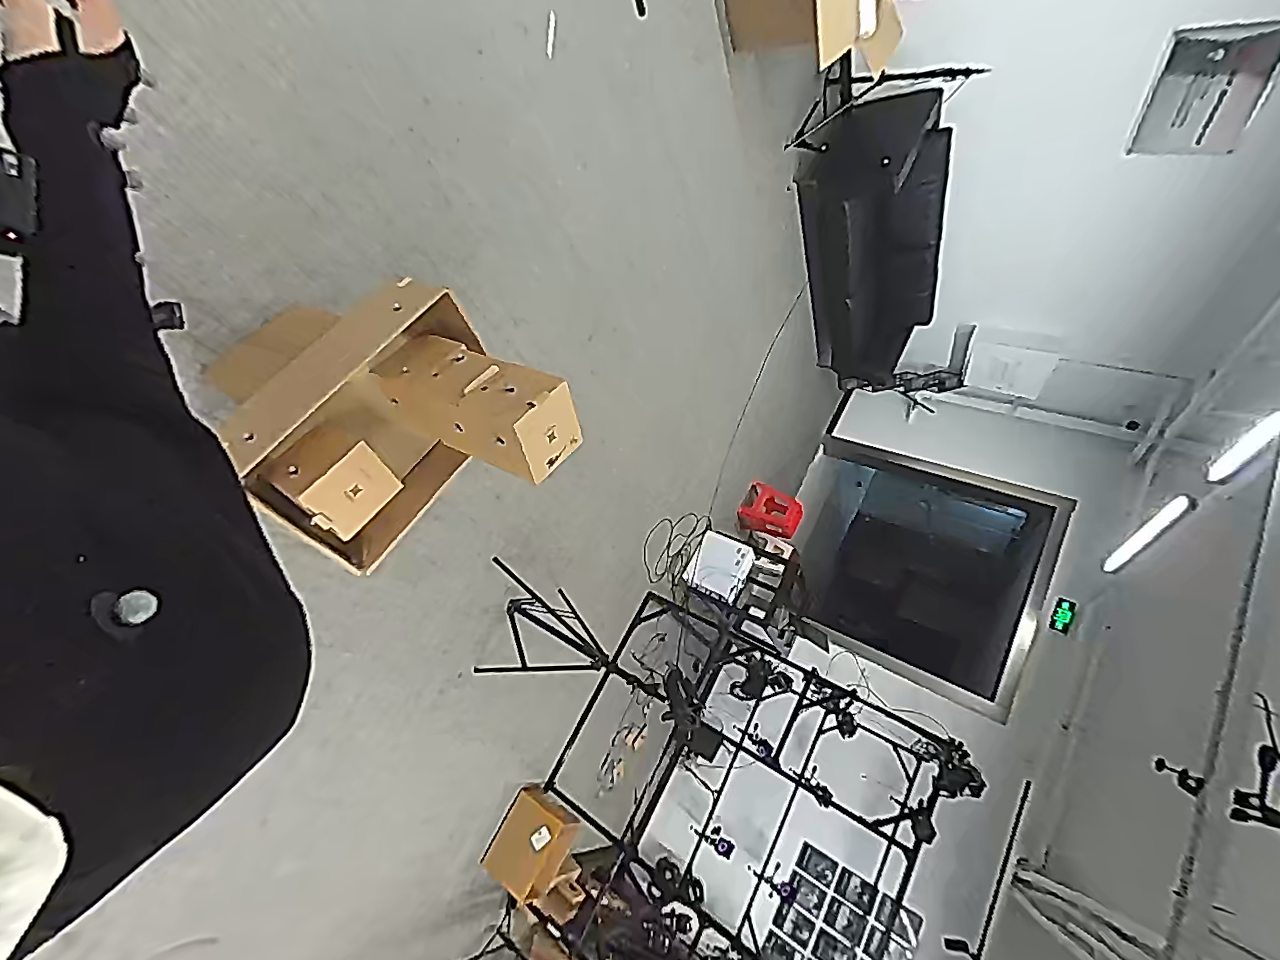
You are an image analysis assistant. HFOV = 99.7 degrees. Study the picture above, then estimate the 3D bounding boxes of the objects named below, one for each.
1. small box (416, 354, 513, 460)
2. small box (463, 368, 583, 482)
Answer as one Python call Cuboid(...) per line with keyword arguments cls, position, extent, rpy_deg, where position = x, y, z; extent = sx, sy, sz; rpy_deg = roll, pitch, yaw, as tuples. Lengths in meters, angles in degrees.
Cuboid(cls="small box", position=(-0.385, -0.179, 1.265), extent=(0.168, 0.176, 0.179), rpy_deg=(-50, 146, -29))
Cuboid(cls="small box", position=(-0.254, -0.129, 1.179), extent=(0.168, 0.176, 0.179), rpy_deg=(-47, 144, -32))
